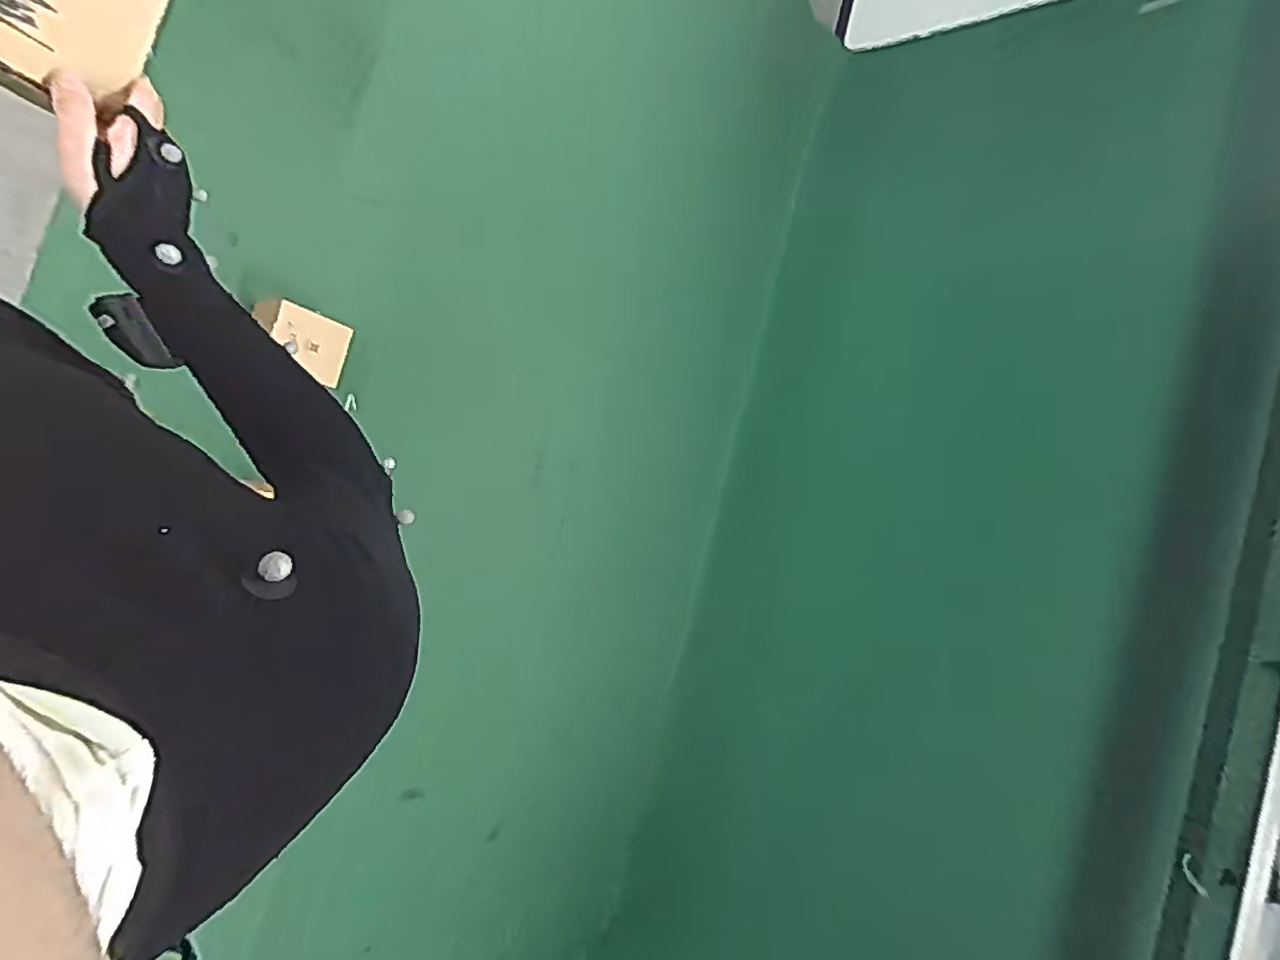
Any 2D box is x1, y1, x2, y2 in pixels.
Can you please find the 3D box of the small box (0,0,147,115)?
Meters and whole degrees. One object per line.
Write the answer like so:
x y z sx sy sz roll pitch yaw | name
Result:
-0.492 -0.409 0.391 0.168 0.176 0.179 16 98 -63 | small box

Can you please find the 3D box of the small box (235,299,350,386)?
-0.895 -0.354 1.393 0.179 0.176 0.168 20 83 -55 | small box
